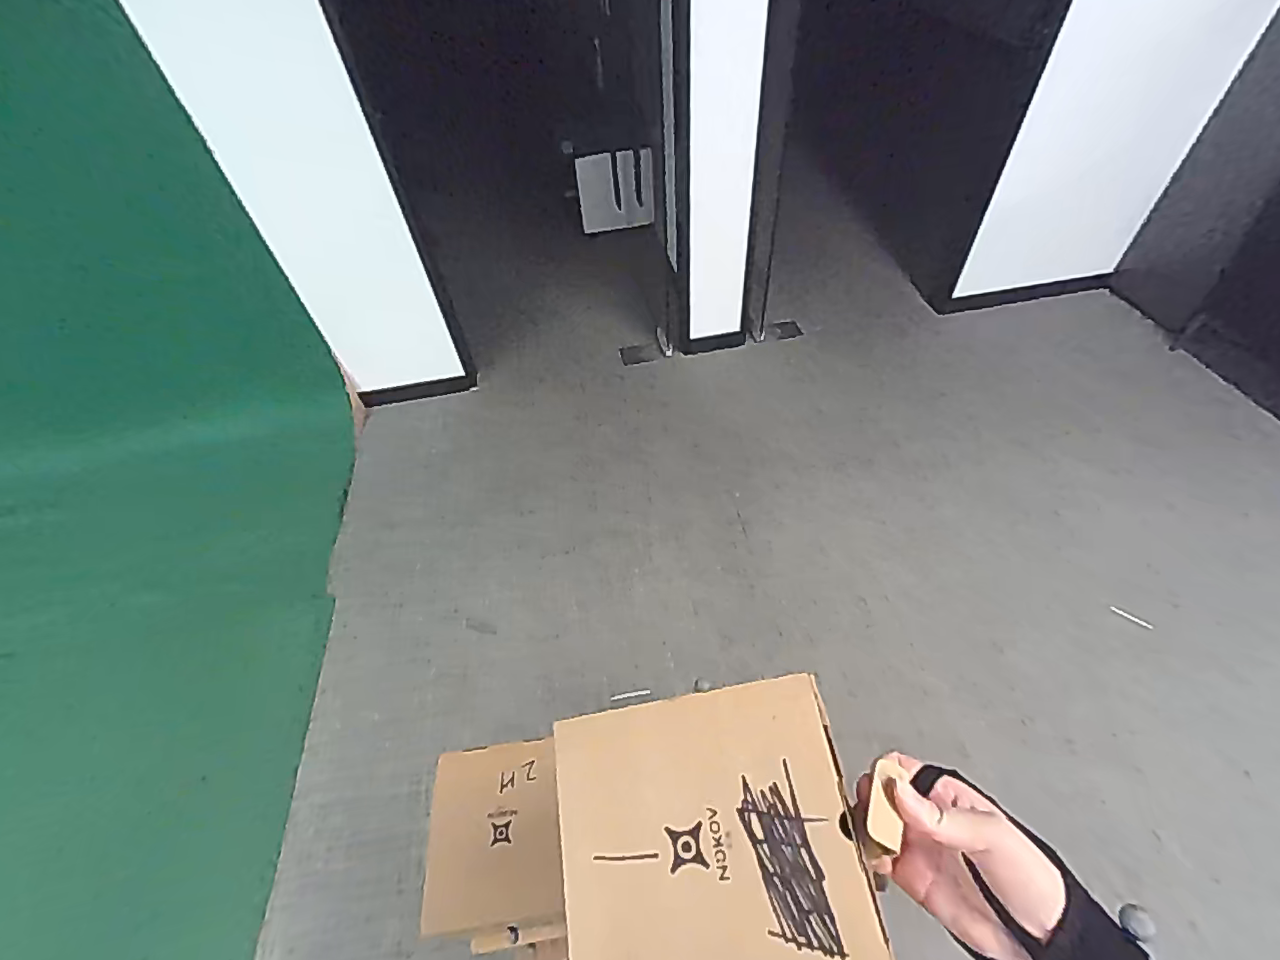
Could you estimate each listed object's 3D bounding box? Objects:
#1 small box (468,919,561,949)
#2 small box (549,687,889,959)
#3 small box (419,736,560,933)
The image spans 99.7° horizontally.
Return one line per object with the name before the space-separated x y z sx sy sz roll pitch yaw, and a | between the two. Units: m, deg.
small box | -0.140 0.555 0.788 0.168 0.176 0.179 -8 50 -3
small box | 0.054 0.247 0.376 0.179 0.176 0.168 -15 62 11
small box | -0.152 0.439 0.672 0.168 0.176 0.179 -6 49 -2
